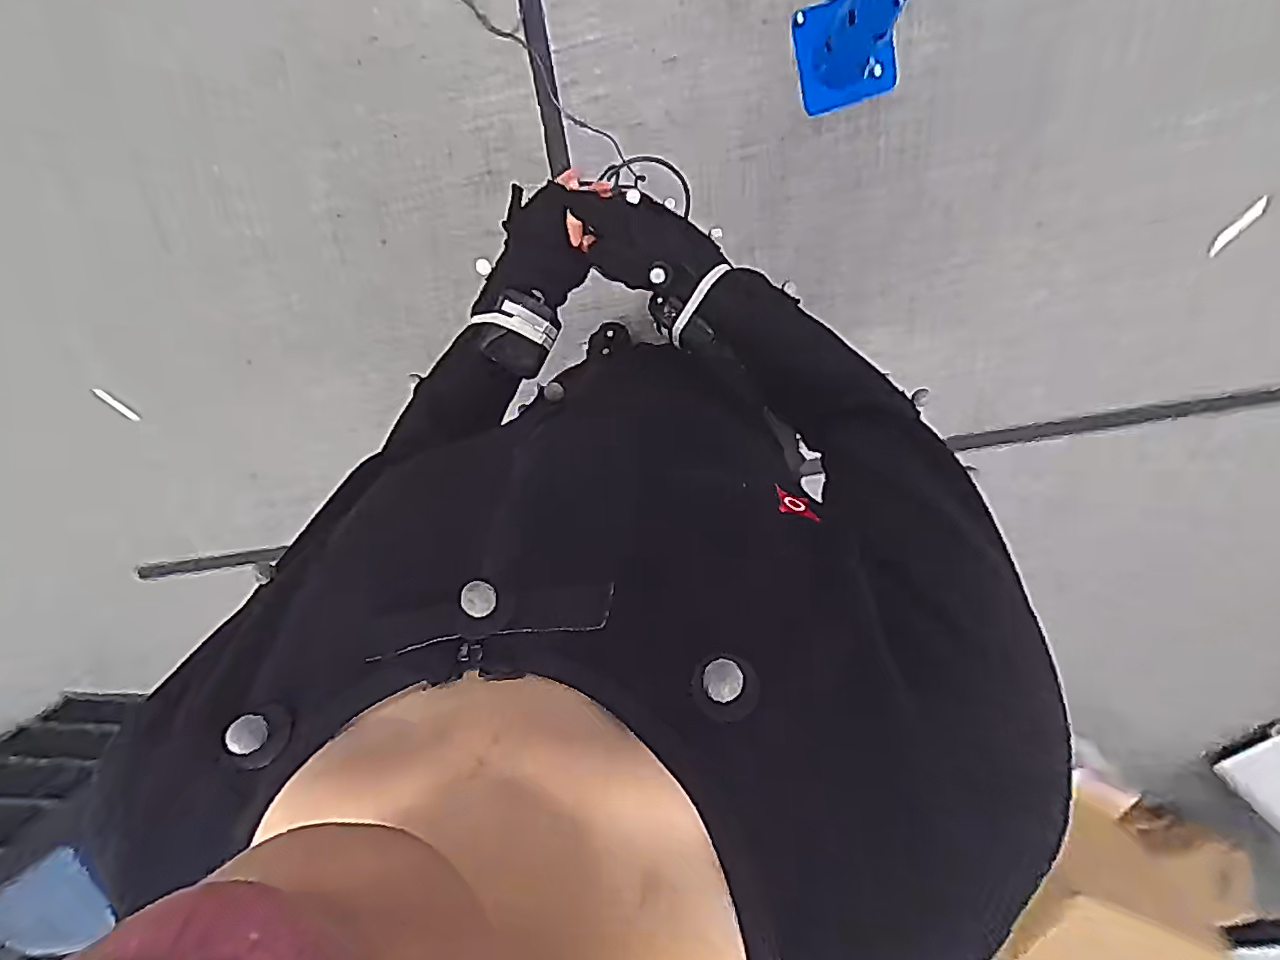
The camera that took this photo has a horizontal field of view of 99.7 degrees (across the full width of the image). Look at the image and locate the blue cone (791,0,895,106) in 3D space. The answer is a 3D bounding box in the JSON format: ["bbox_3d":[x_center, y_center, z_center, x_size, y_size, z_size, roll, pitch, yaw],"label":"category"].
[{"bbox_3d":[0.420,-0.869,0.994,0.192,0.380,0.193,-13,108,9],"label":"blue cone"}]
